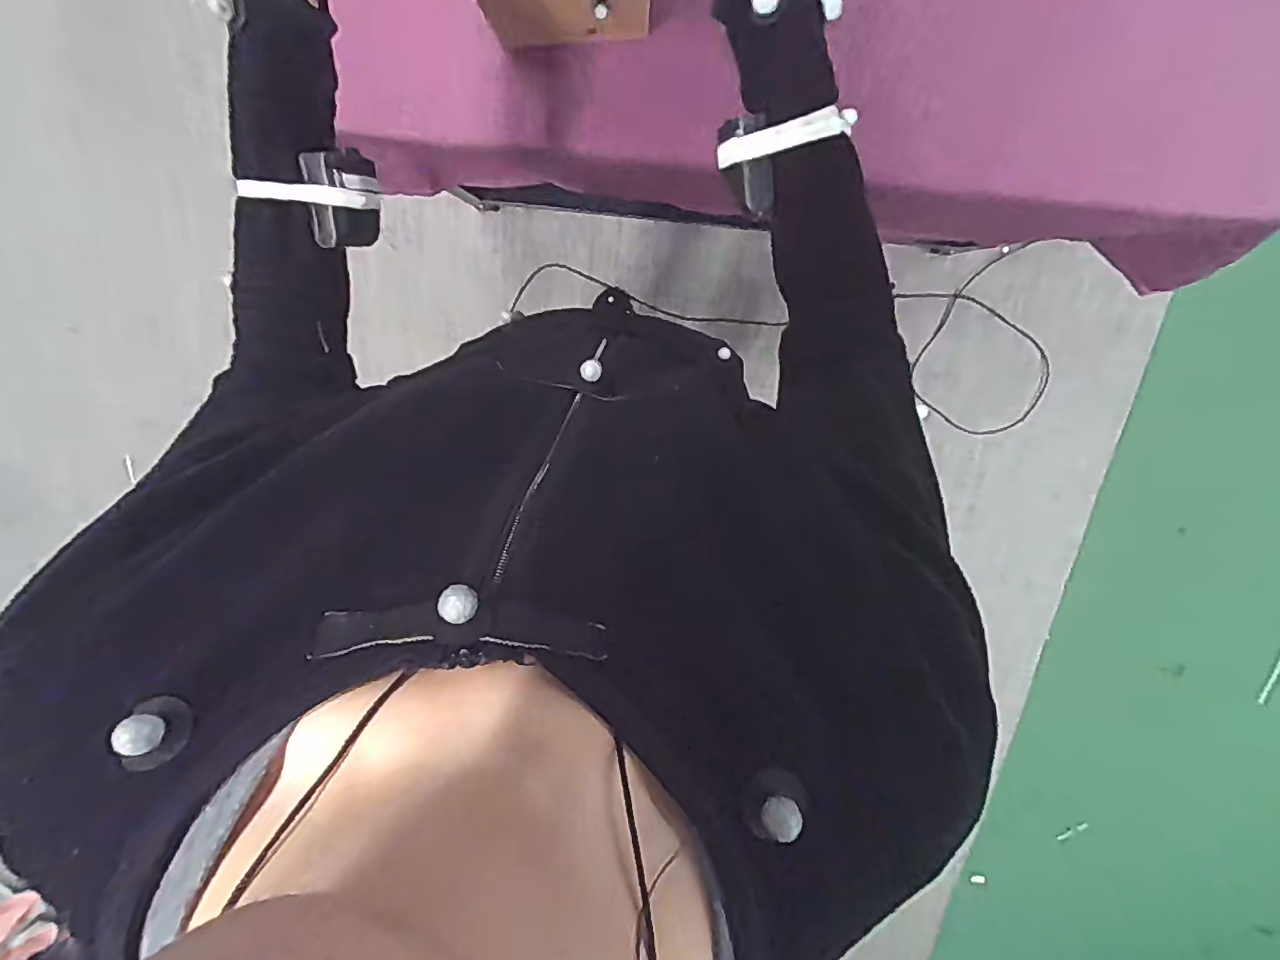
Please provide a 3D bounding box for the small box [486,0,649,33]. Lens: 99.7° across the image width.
[{"bbox_3d":[-0.075,-0.546,0.496,0.168,0.176,0.179,-2,108,0],"label":"small box"}]
